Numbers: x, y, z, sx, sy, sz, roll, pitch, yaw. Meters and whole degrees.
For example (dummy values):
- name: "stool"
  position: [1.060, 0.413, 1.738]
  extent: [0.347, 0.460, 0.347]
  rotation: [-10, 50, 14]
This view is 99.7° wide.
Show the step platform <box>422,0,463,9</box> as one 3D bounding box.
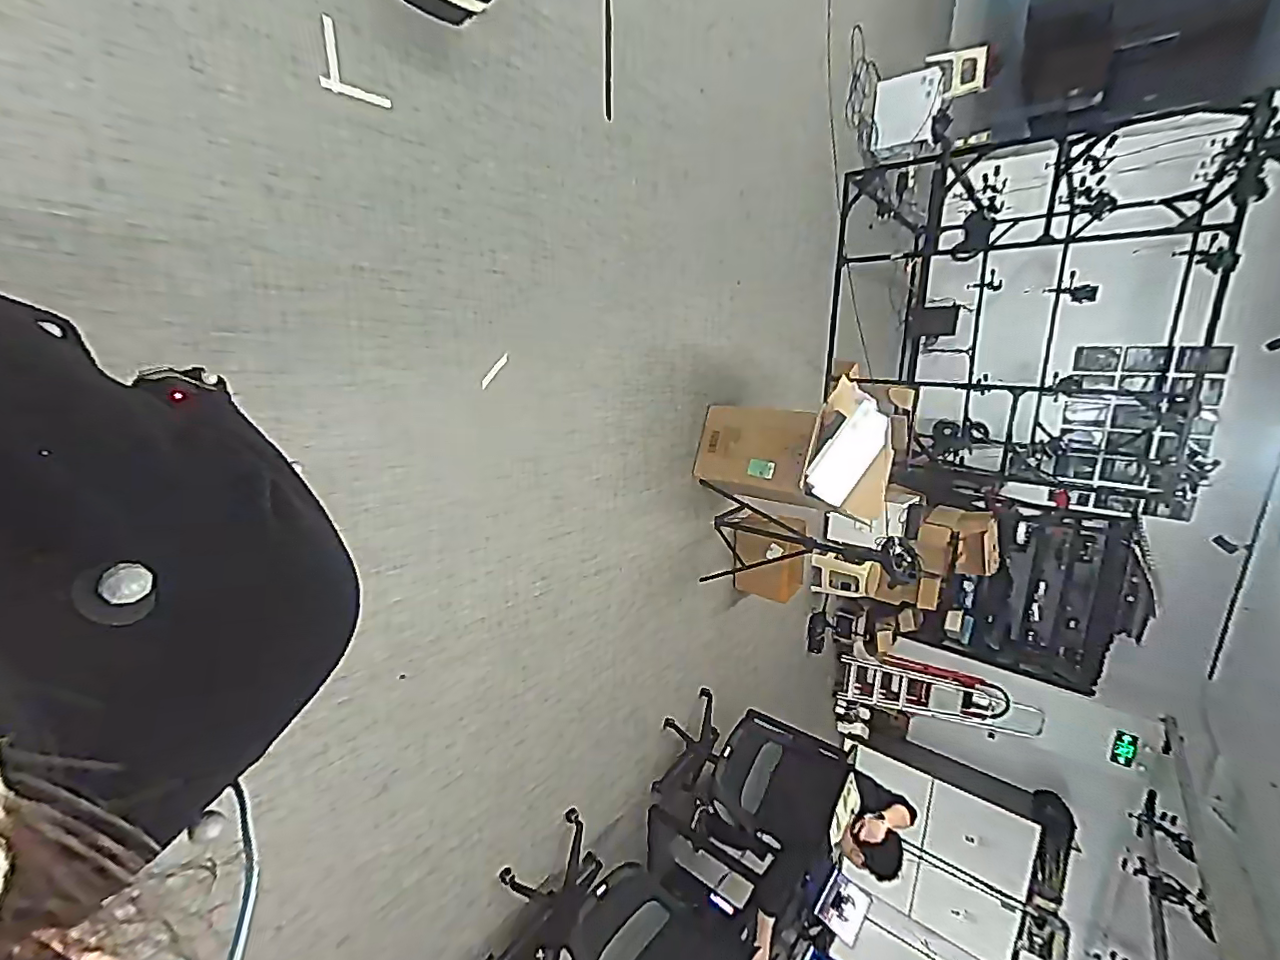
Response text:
- name: "step platform"
  position: [-0.511, -1.595, 1.298]
  extent: [0.286, 0.204, 0.684]
  rotation: [-5, 102, -51]
